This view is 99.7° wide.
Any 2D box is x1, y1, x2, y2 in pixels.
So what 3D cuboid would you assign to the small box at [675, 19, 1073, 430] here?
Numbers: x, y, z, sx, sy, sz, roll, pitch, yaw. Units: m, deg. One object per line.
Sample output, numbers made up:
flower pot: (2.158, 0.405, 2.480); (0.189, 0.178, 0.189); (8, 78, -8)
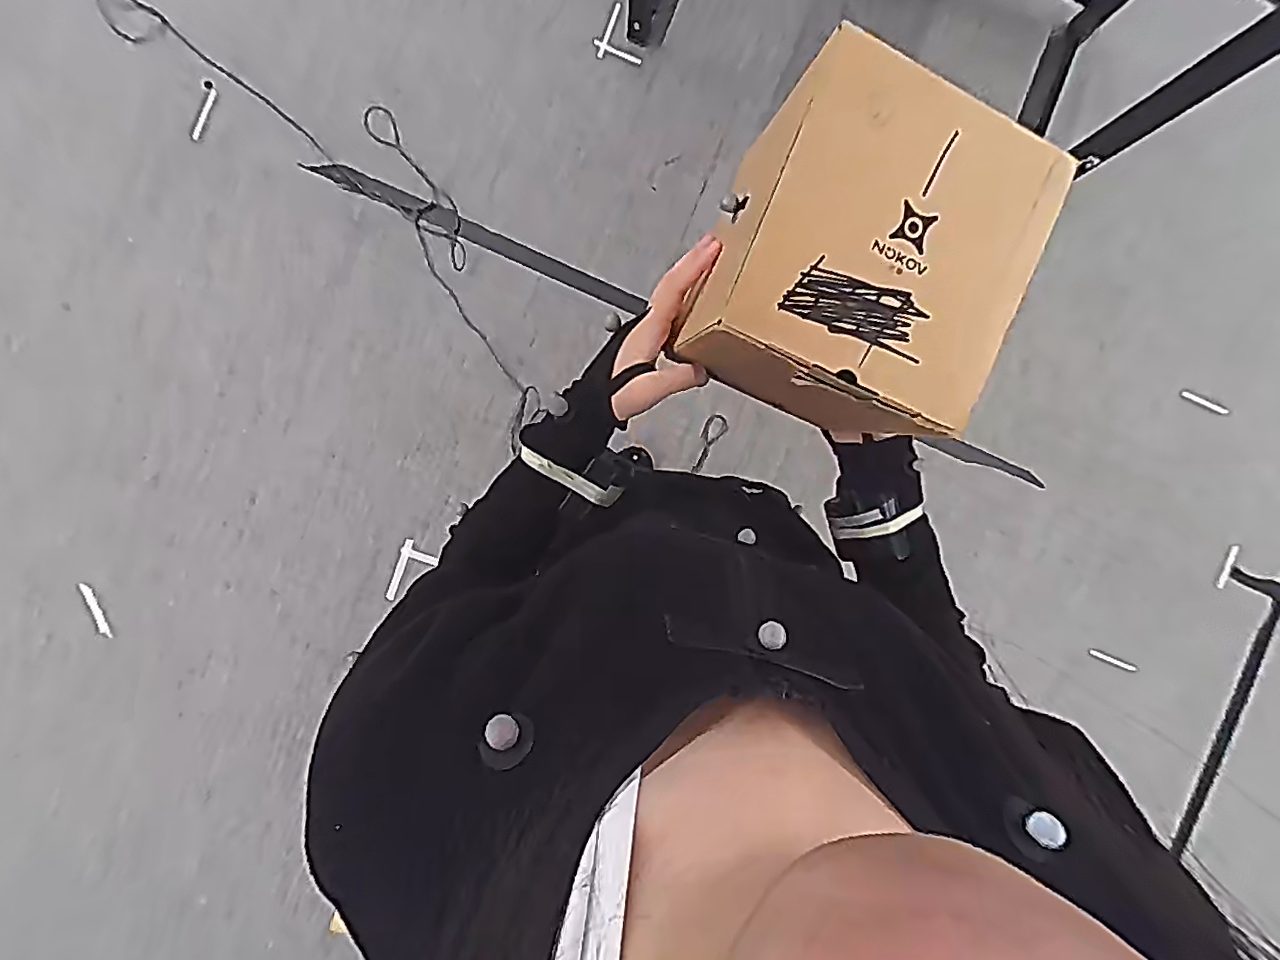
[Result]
small box: (0.136, -0.147, 0.385); (0.168, 0.176, 0.179); (22, 93, -10)
